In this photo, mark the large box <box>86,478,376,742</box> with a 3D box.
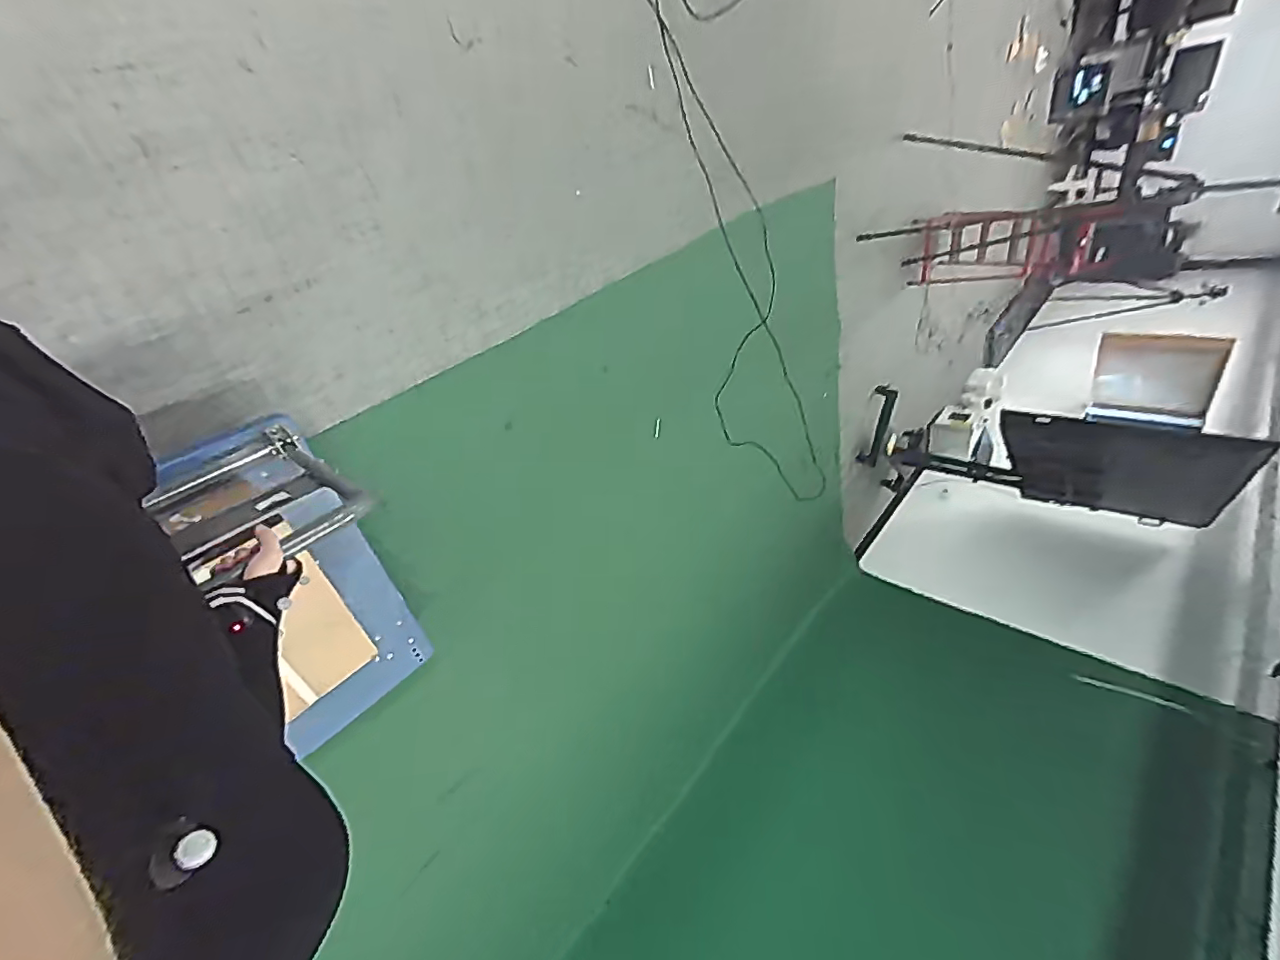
[{"bbox_3d":[-0.871,0.266,1.180,0.320,0.320,0.408,-37,130,-32],"label":"large box"}]
